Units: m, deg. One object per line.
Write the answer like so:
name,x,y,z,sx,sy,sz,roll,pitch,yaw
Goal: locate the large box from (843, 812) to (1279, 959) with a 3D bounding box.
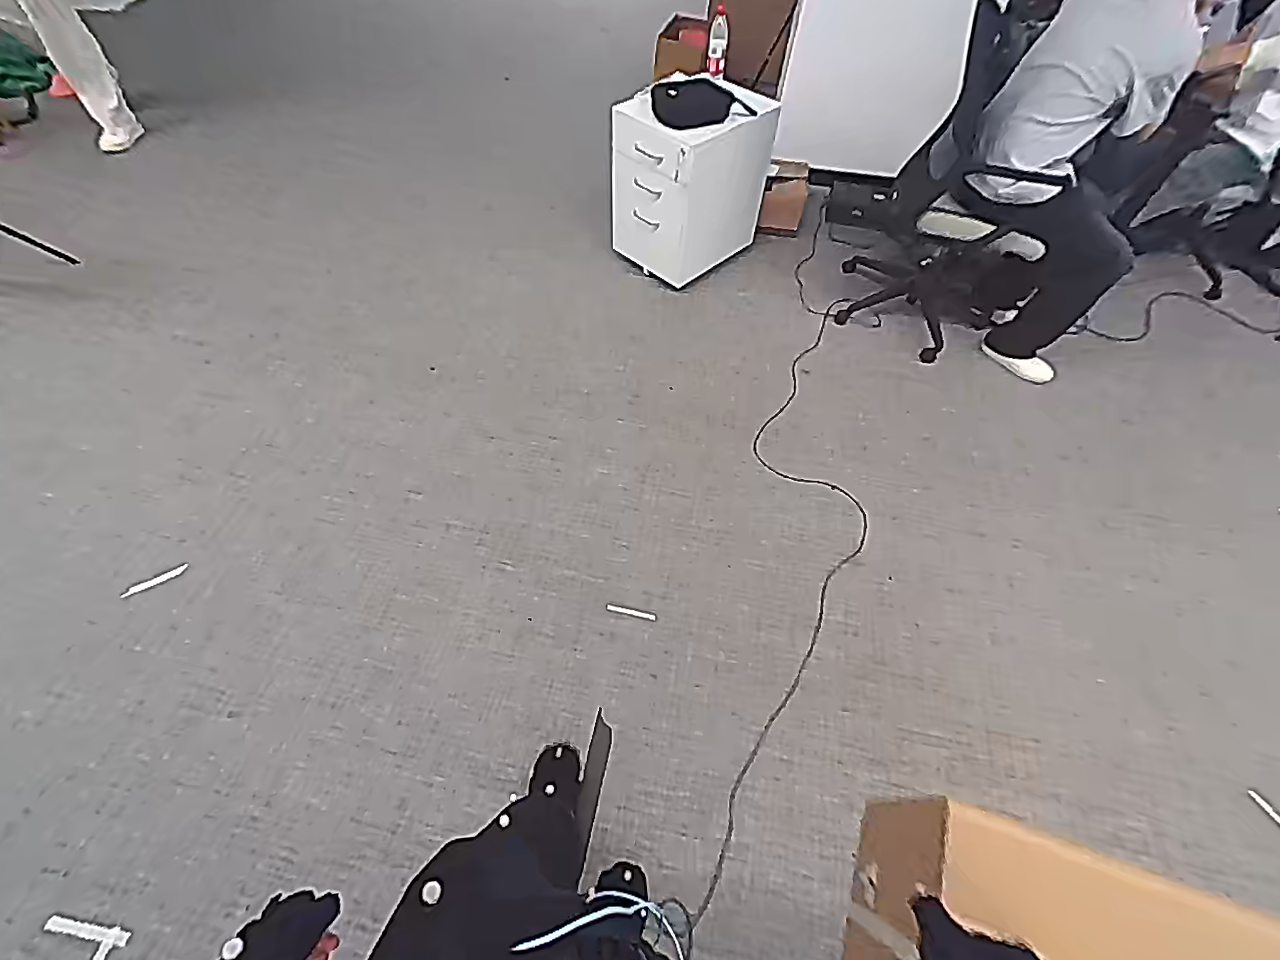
large box,0.439,0.628,0.629,0.320,0.408,0.320,16,62,20
